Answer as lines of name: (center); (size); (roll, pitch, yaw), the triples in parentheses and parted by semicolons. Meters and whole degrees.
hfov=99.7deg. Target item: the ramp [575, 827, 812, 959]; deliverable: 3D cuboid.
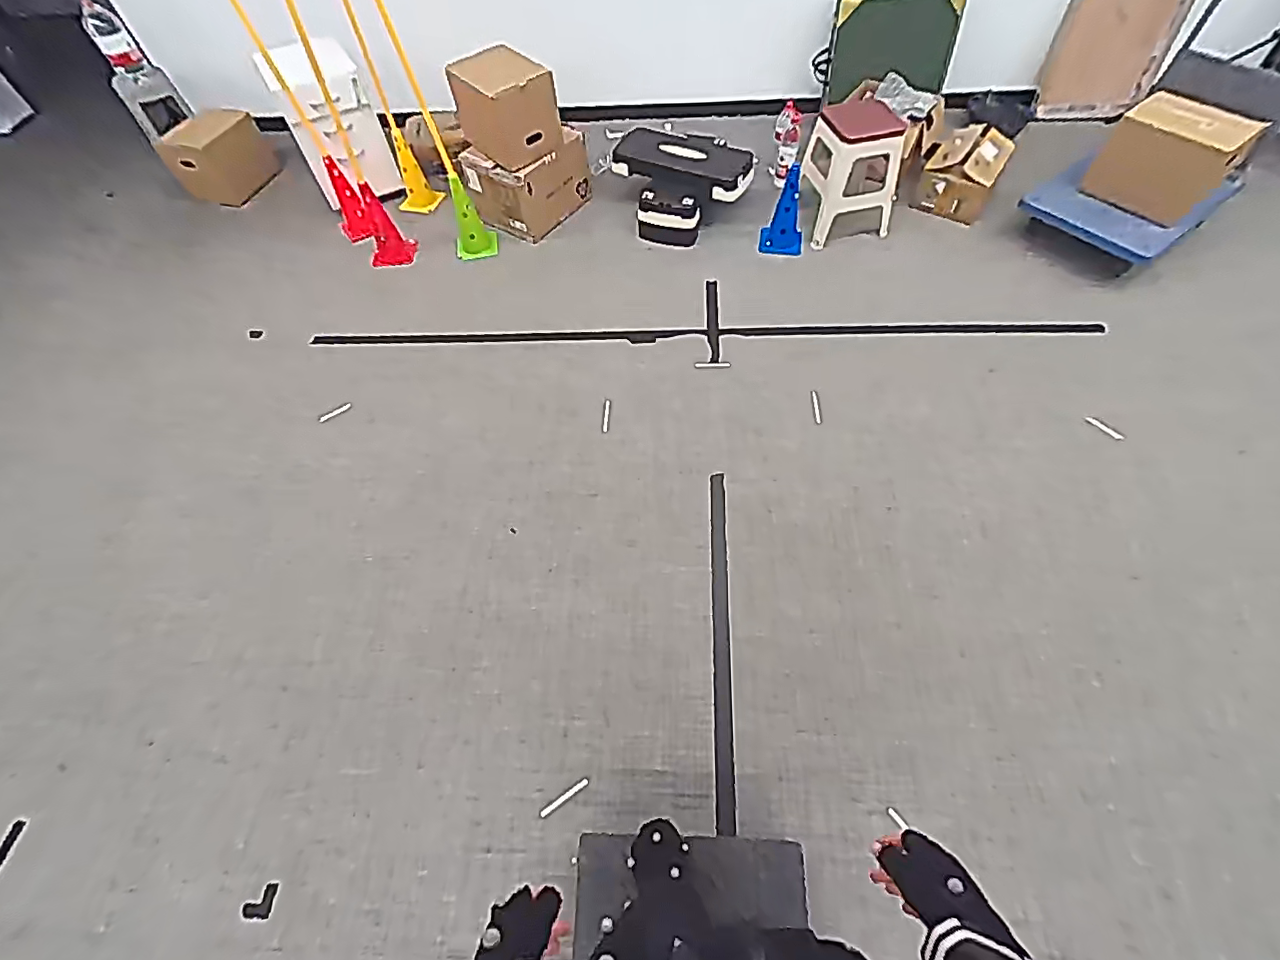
ramp: (0.104, 1.237, 1.009); (0.509, 0.206, 0.991); (-1, 57, 1)
